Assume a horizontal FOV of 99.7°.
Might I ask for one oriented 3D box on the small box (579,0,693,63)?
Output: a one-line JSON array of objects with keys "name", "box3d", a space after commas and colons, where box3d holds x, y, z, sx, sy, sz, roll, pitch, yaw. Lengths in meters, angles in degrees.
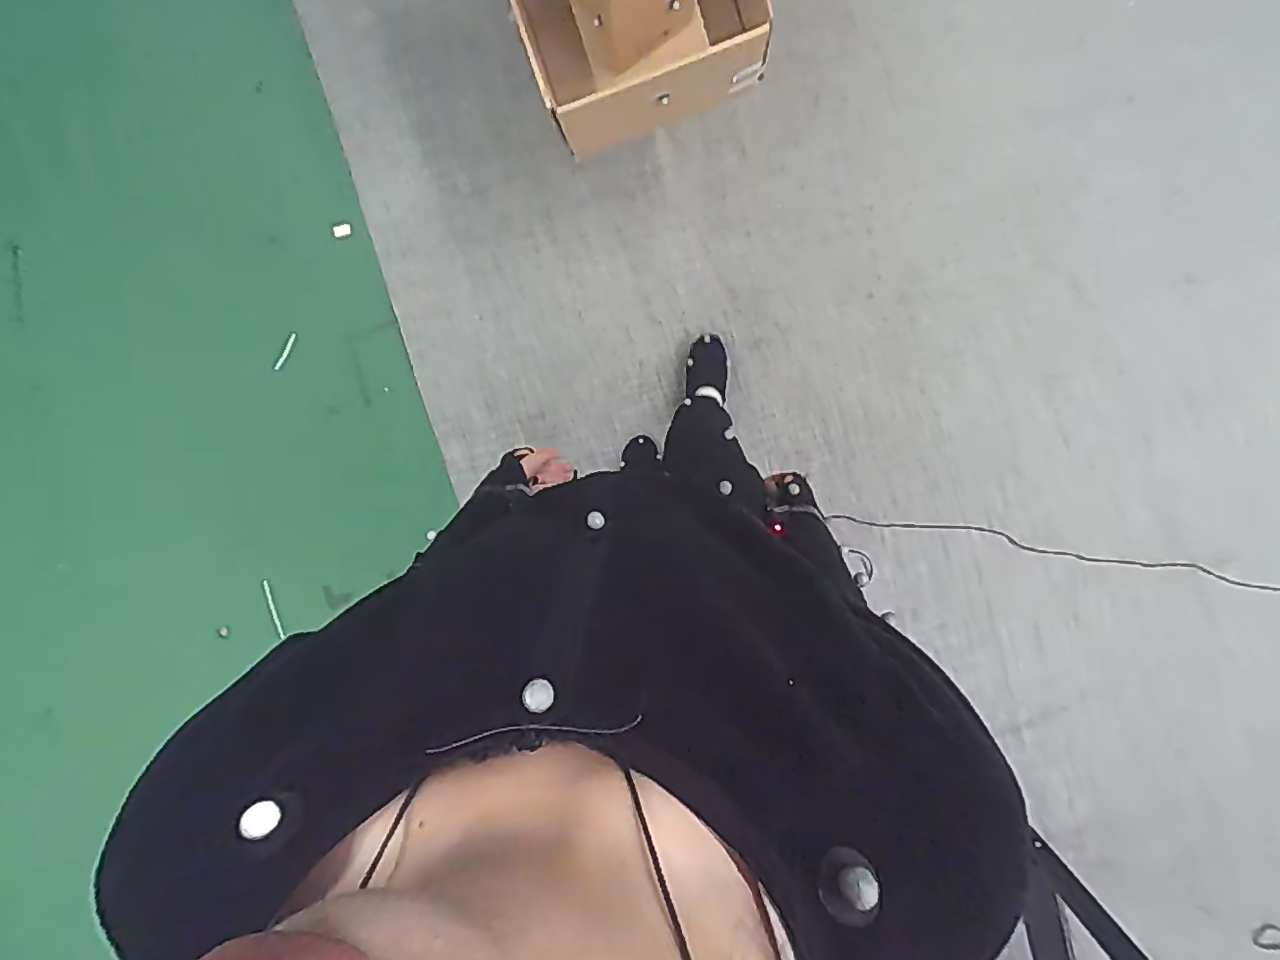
[{"name": "small box", "box3d": [-0.015, -0.865, 0.919, 0.168, 0.176, 0.179, -31, 93, 6]}]
